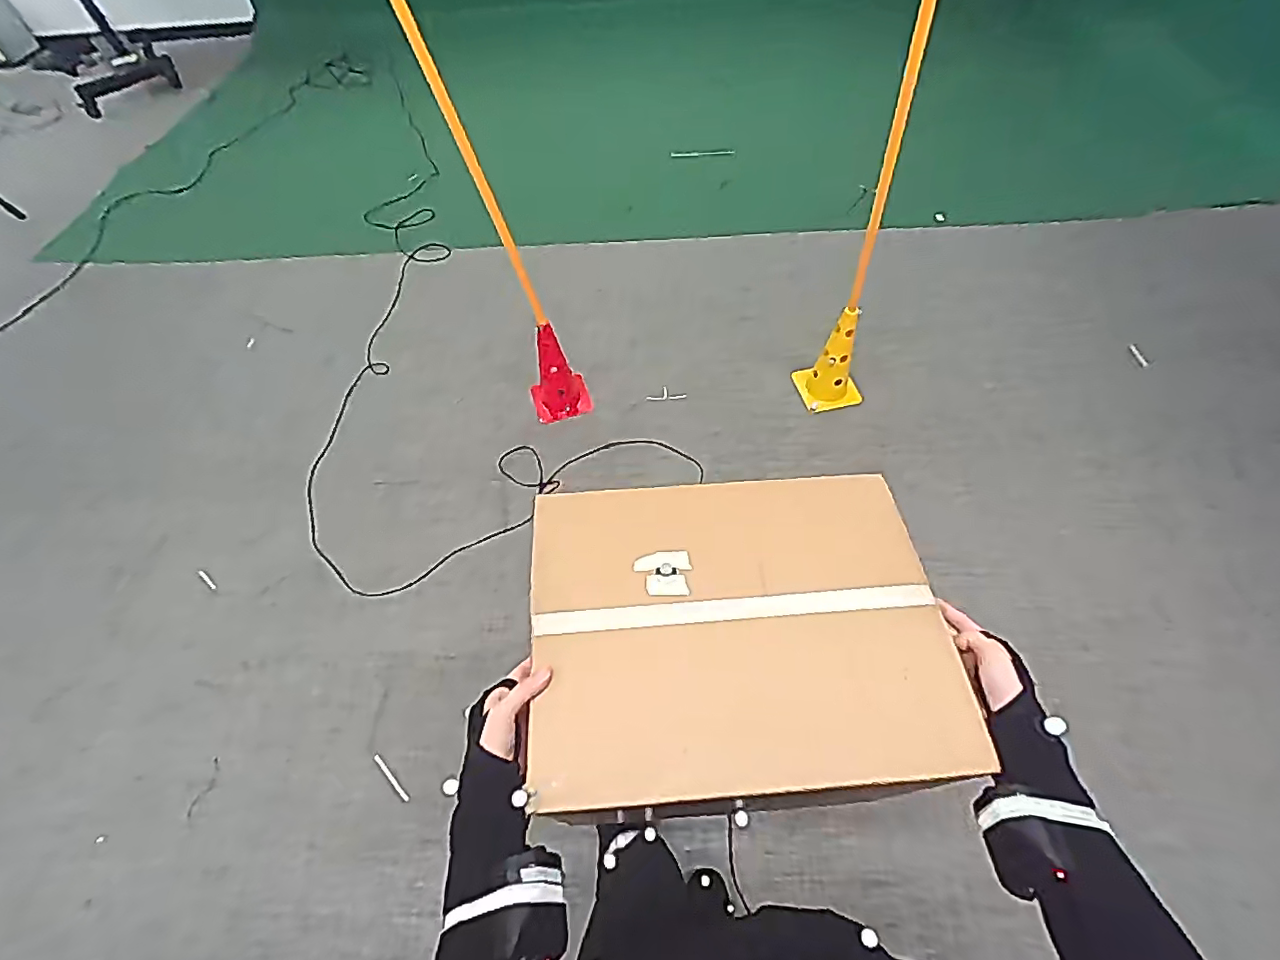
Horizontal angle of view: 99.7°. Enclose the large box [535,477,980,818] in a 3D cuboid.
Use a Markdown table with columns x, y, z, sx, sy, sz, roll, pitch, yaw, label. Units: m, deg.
| x | y | z | sx | sy | sz | roll | pitch | yaw | label |
| --- | --- | --- | --- | --- | --- | --- | --- | --- | --- |
| 0.099 | 0.221 | 0.677 | 0.408 | 0.320 | 0.320 | -4 | 55 | -1 | large box |
